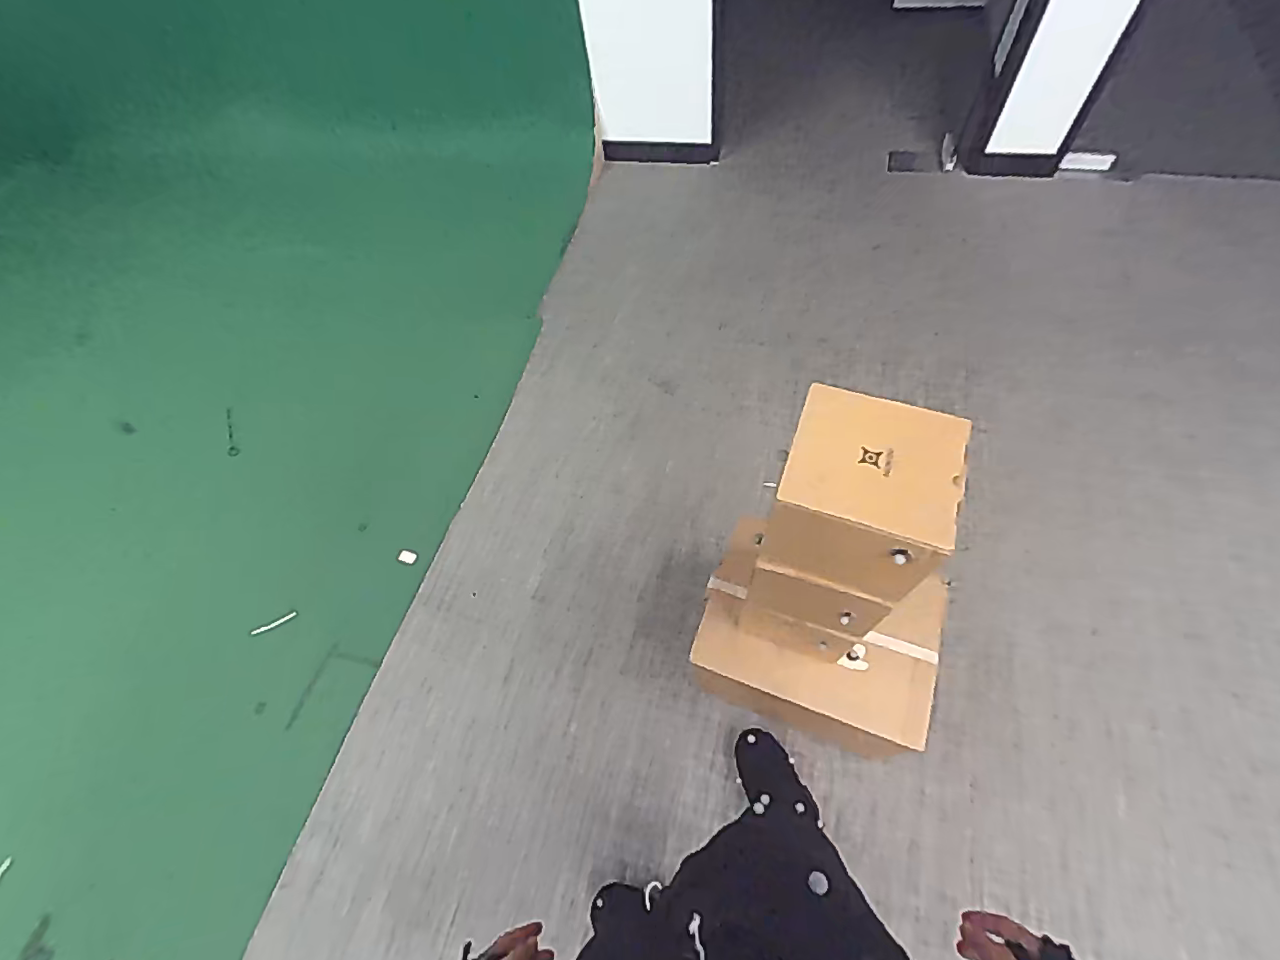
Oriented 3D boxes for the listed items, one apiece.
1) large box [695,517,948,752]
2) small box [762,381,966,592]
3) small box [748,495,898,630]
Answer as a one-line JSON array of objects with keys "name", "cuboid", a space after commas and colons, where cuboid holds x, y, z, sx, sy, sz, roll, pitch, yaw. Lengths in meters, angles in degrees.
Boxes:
[{"name": "large box", "cuboid": [0.345, 0.322, 1.112, 0.408, 0.320, 0.320, 16, 65, 15]}, {"name": "small box", "cuboid": [0.252, 0.014, 0.641, 0.179, 0.176, 0.168, 17, 63, 15]}, {"name": "small box", "cuboid": [0.262, 0.101, 0.777, 0.179, 0.176, 0.168, 13, 62, 15]}]
